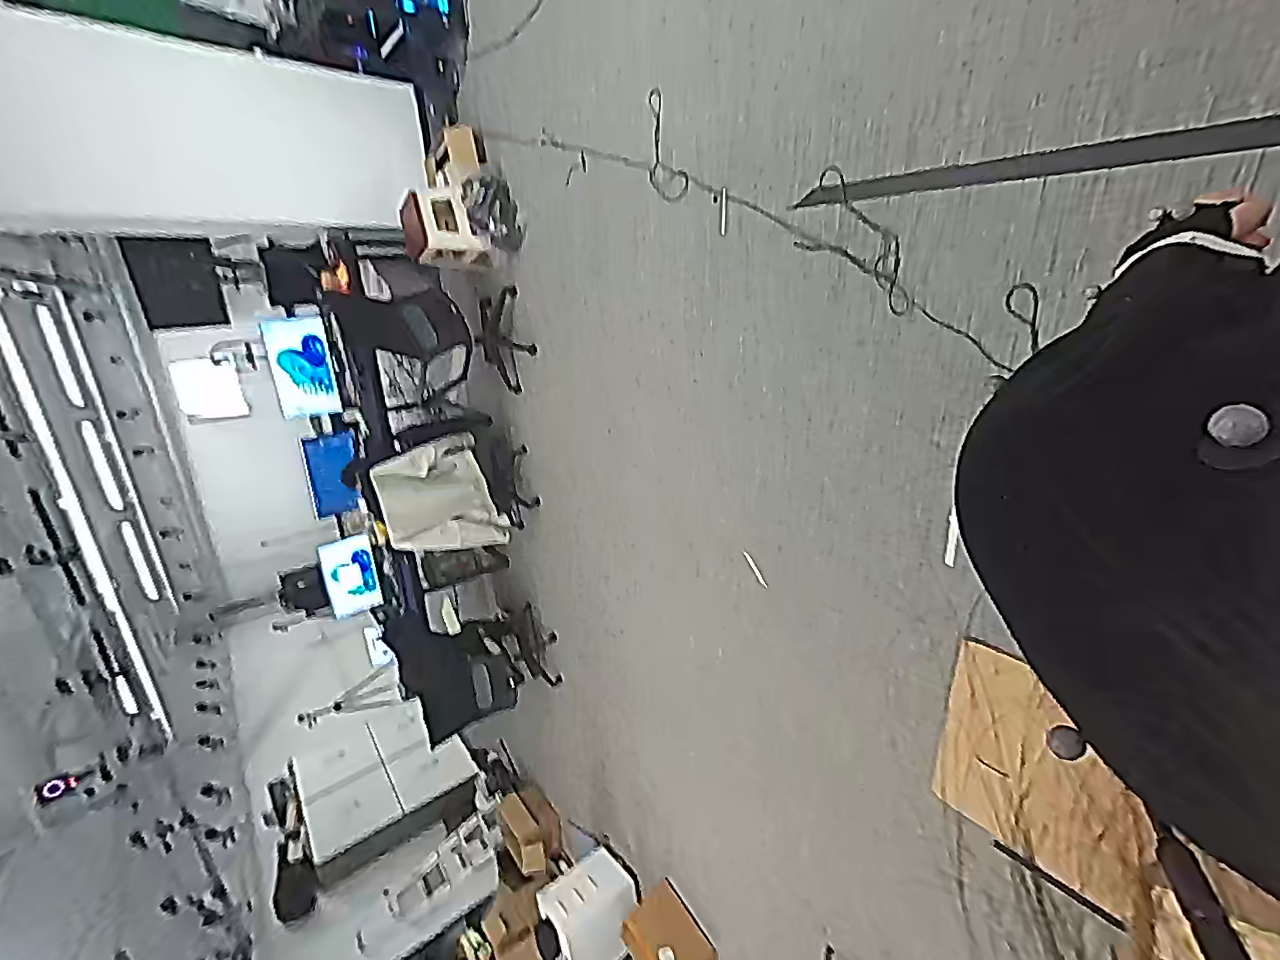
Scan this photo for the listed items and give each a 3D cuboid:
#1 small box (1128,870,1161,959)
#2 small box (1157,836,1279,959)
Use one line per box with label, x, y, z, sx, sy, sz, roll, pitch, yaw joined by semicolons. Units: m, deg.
small box;1.234;1.048;1.220;0.168;0.176;0.179;8;110;51
small box;1.104;0.834;1.020;0.168;0.176;0.179;1;105;51
